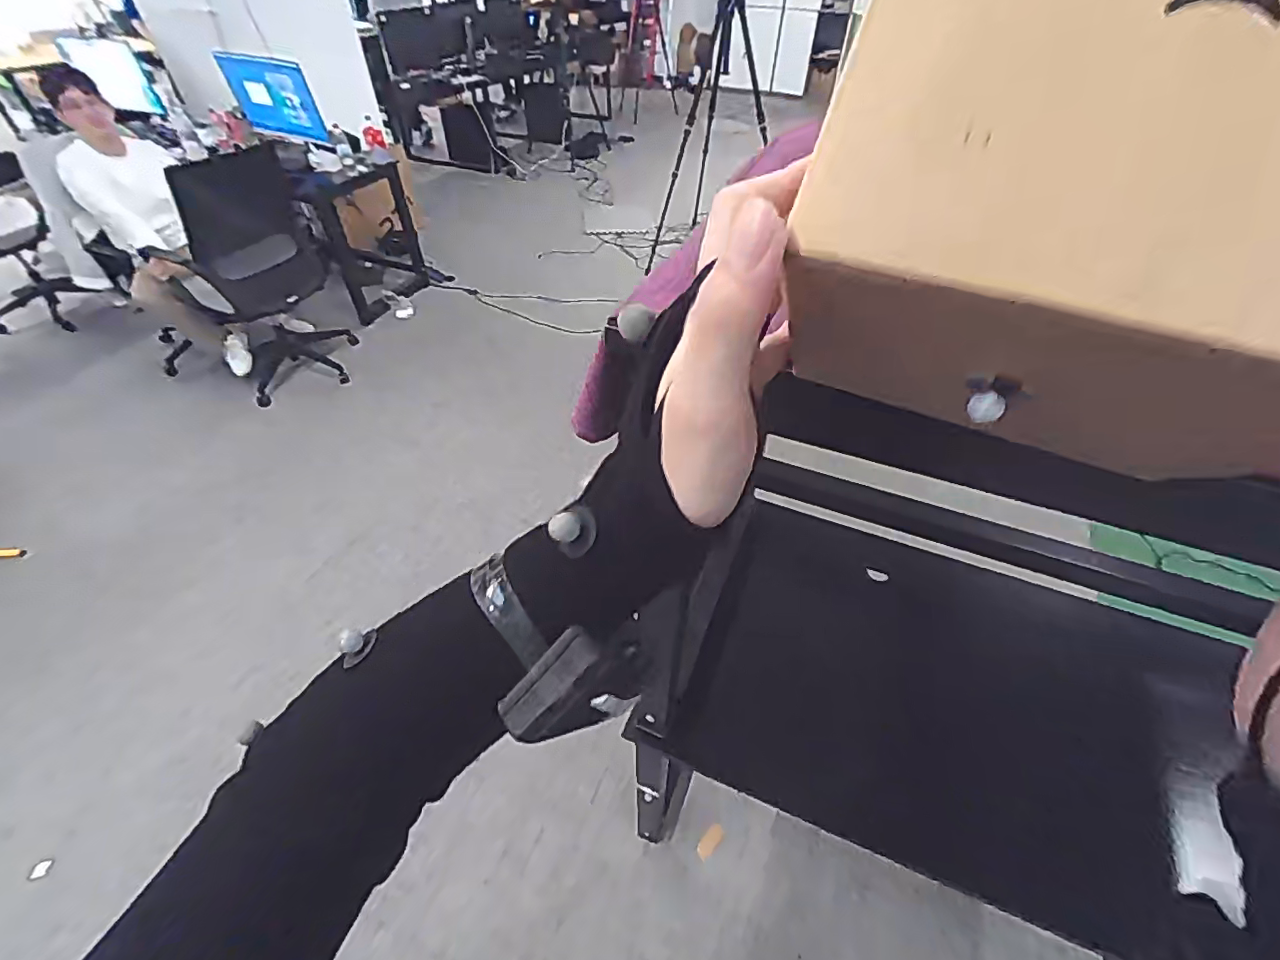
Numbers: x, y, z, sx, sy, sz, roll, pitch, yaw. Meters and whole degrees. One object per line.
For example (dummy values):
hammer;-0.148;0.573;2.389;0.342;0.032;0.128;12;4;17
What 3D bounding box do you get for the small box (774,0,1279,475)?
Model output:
small box;0.167;-0.104;0.197;0.179;0.168;0.176;21;5;19
